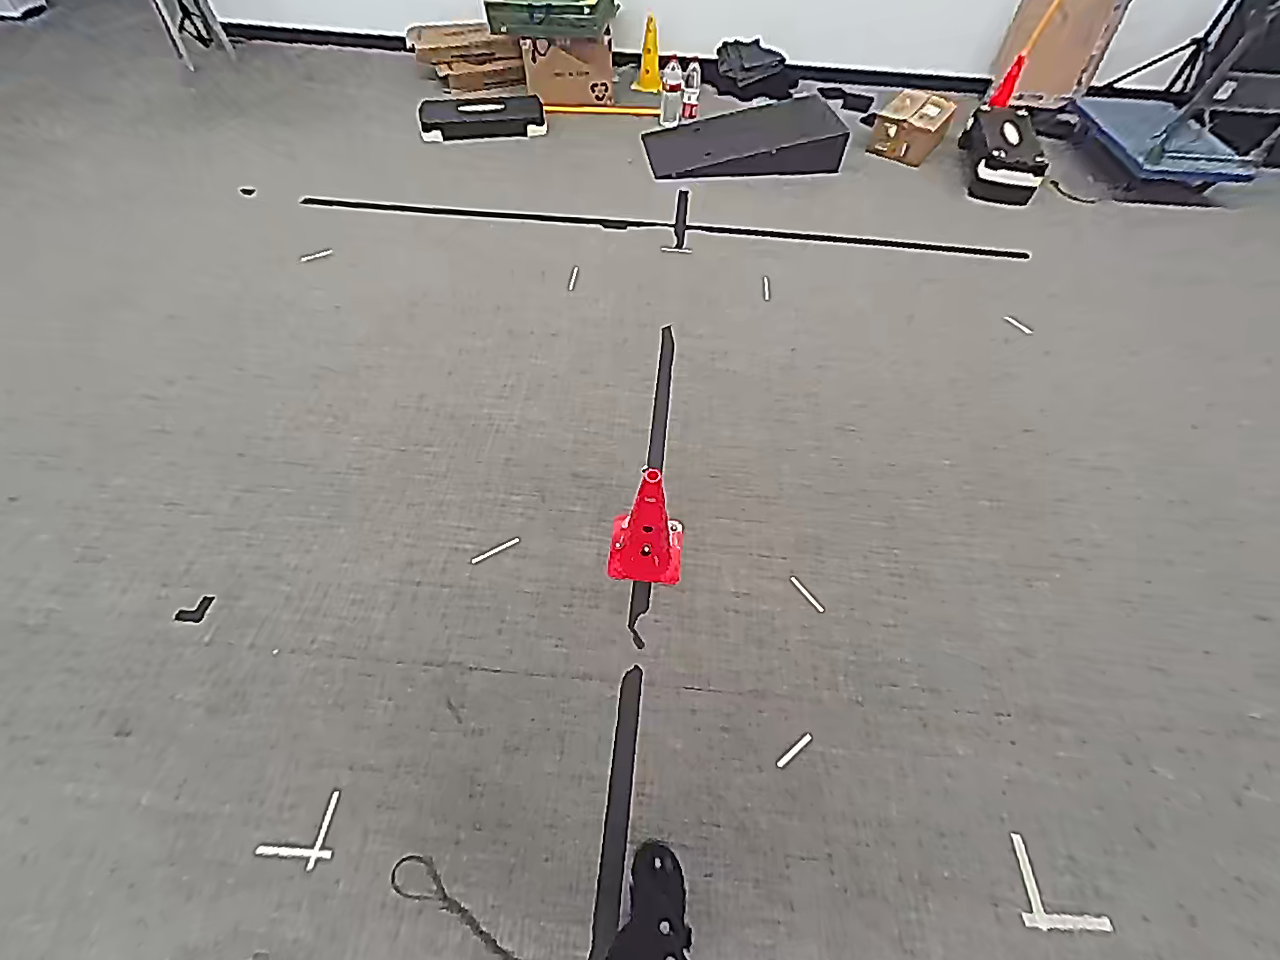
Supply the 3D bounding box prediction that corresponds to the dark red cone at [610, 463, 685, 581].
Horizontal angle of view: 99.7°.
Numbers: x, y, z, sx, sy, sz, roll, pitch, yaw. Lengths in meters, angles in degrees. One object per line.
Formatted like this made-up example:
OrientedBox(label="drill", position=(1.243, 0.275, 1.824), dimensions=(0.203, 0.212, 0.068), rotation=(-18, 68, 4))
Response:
OrientedBox(label="dark red cone", position=(0.026, 0.085, 1.354), dimensions=(0.201, 0.394, 0.202), rotation=(5, 55, 2))
